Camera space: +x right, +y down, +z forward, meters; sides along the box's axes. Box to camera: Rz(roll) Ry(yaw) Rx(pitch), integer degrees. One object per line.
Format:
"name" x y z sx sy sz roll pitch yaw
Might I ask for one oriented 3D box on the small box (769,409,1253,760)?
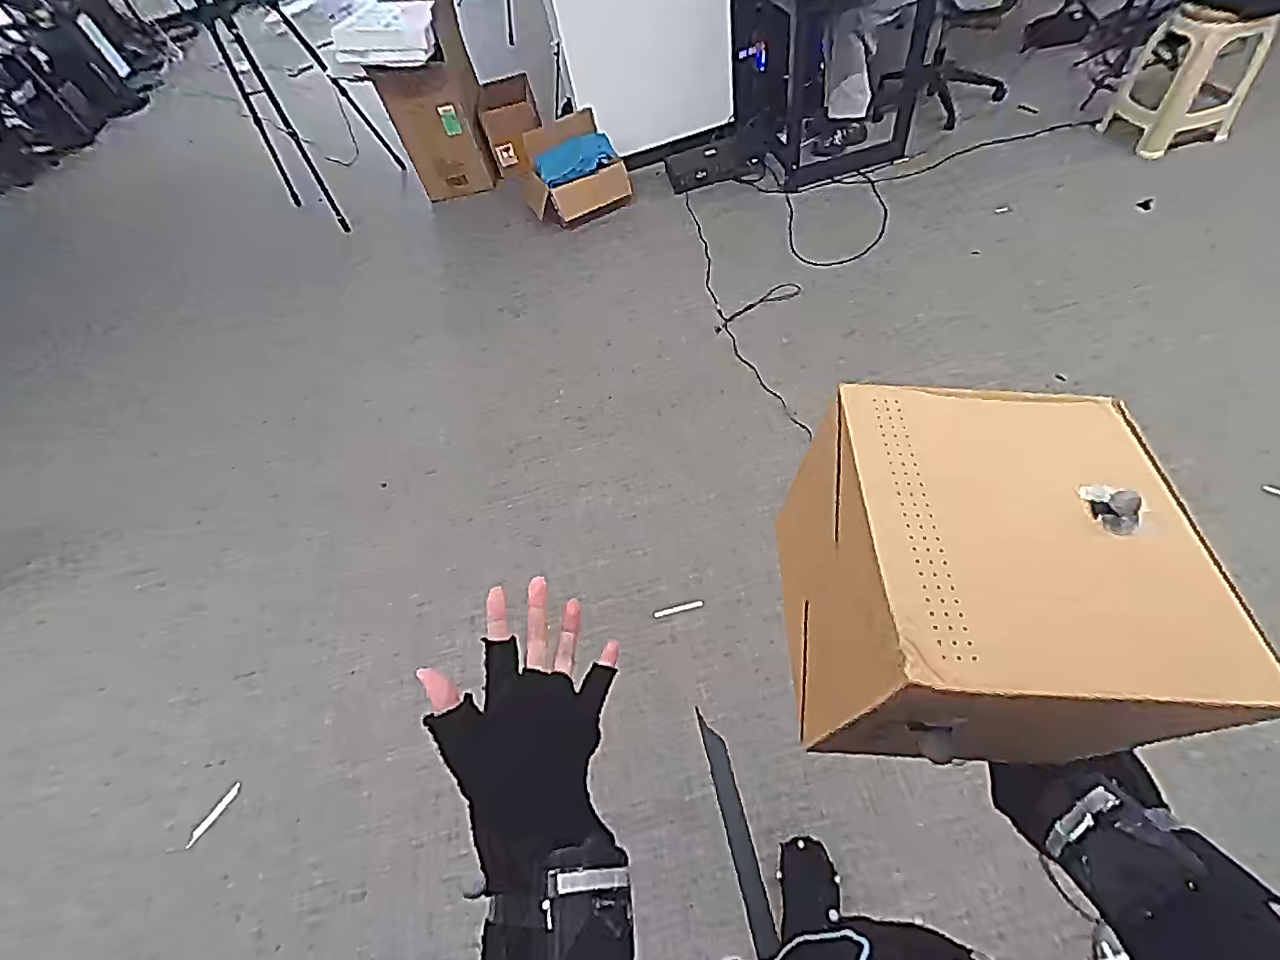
"small box" 0.184 0.068 0.346 0.176 0.168 0.179 2 55 1
